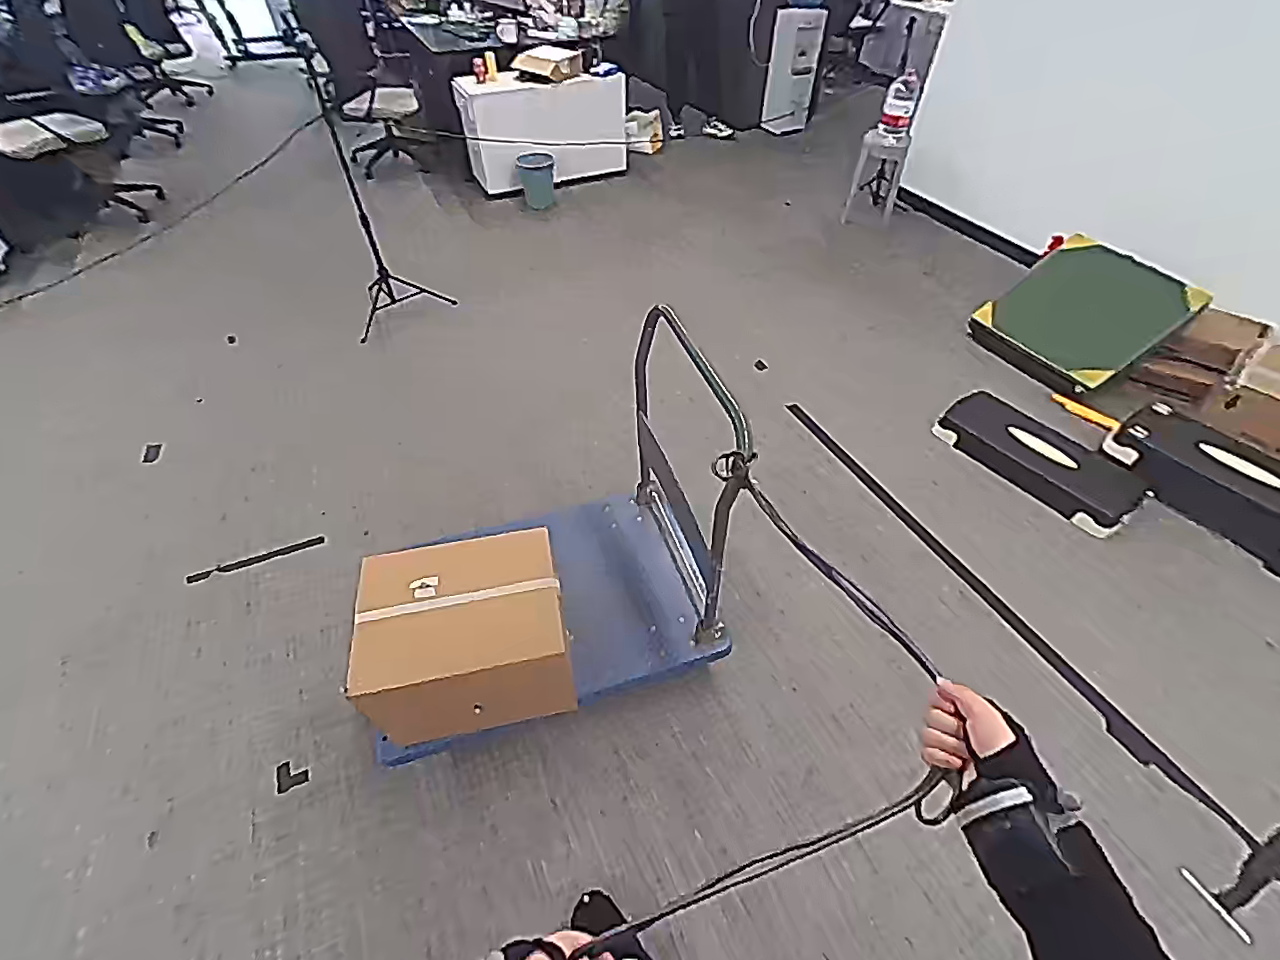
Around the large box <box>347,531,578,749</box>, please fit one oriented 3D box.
[{"bbox_3d":[-0.371,0.358,1.212,0.408,0.320,0.320,-10,48,-8],"label":"large box"}]
